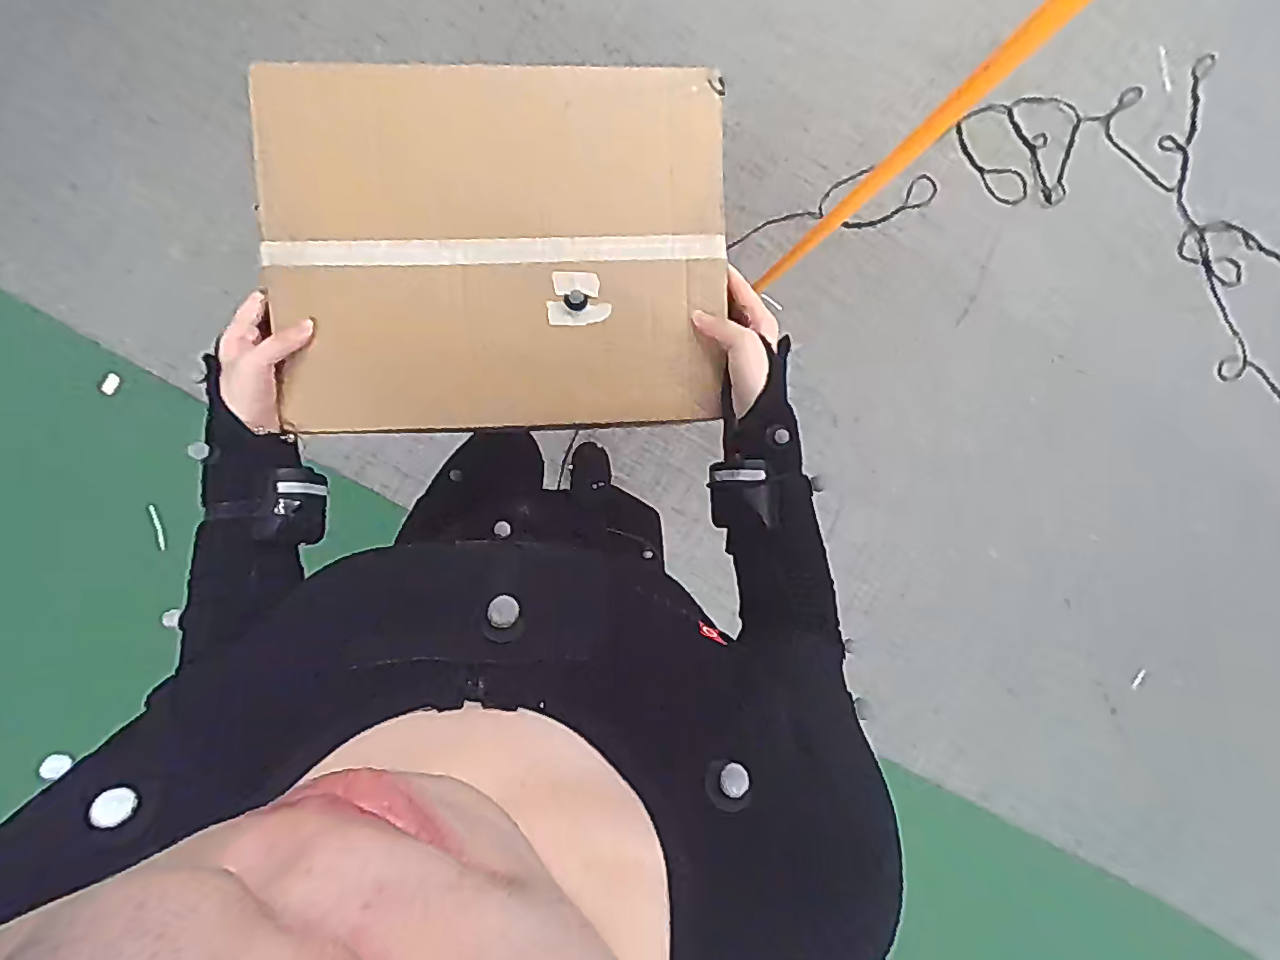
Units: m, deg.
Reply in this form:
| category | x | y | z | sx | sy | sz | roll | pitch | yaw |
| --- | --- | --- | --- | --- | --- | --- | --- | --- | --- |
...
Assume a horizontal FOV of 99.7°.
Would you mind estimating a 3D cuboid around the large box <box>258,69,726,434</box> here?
| category | x | y | z | sx | sy | sz | roll | pitch | yaw |
| --- | --- | --- | --- | --- | --- | --- | --- | --- | --- |
| large box | -0.138 | -0.222 | 0.638 | 0.408 | 0.320 | 0.320 | -3 | 95 | -5 |
